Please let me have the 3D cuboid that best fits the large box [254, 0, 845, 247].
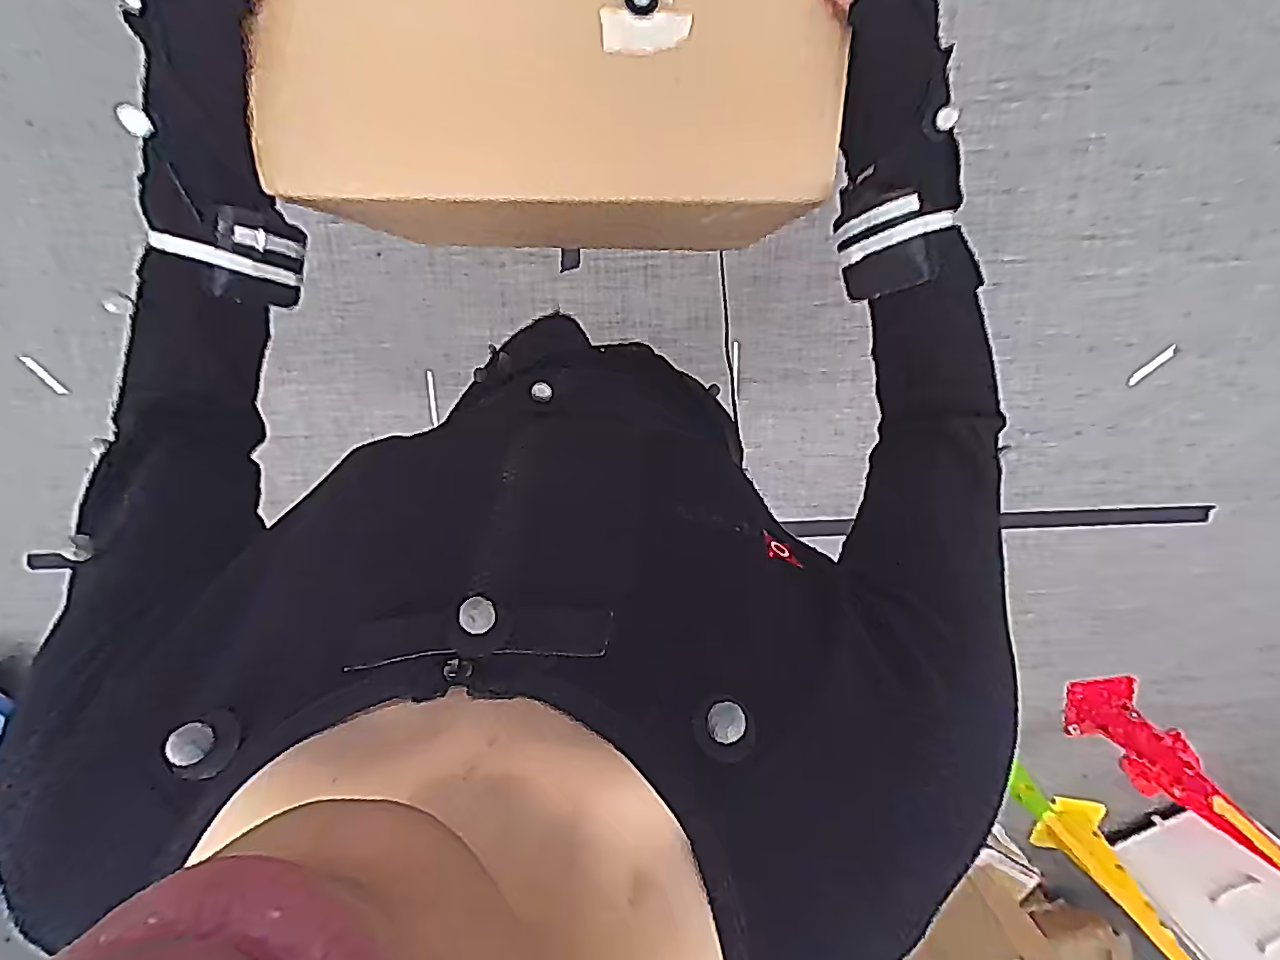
[{"bbox_3d":[-0.063,-0.403,0.495,0.408,0.320,0.320,-1,107,-1],"label":"large box"}]
